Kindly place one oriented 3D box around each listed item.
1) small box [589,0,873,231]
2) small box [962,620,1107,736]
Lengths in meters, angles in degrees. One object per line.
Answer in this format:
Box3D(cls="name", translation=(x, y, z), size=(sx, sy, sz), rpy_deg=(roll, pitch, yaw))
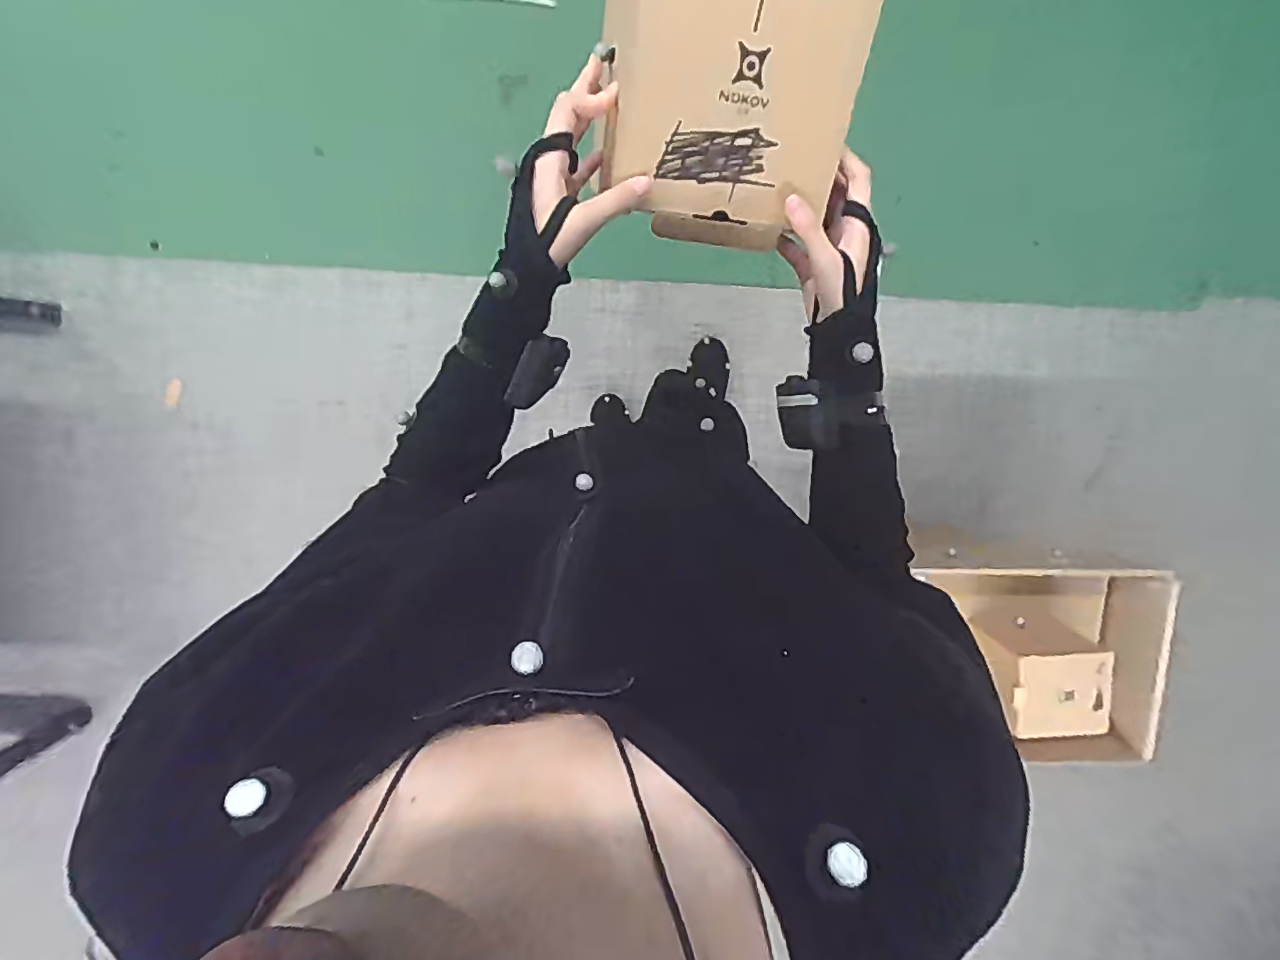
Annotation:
Box3D(cls="small box", translation=(0.052, -0.313, 0.432), size=(0.168, 0.176, 0.179), rpy_deg=(1, 120, -13))
Box3D(cls="small box", translation=(0.784, 0.394, 1.095), size=(0.179, 0.176, 0.168), rpy_deg=(-2, 99, 1))
